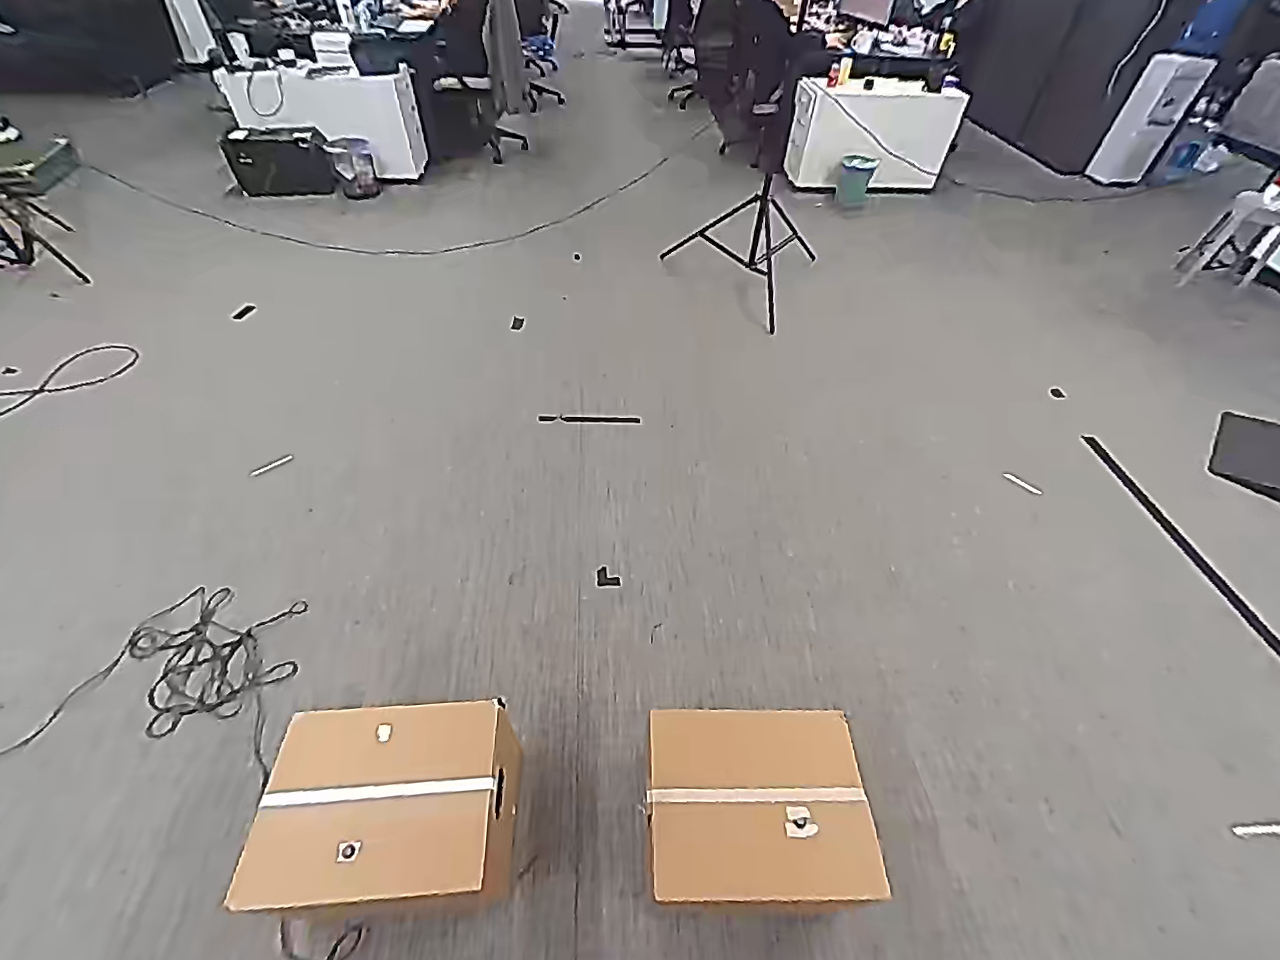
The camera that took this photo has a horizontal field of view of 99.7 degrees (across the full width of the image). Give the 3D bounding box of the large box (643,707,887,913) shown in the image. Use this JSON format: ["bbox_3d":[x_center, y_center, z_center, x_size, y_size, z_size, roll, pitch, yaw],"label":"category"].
[{"bbox_3d":[0.218,0.687,1.125,0.408,0.320,0.320,2,48,-2],"label":"large box"}]
